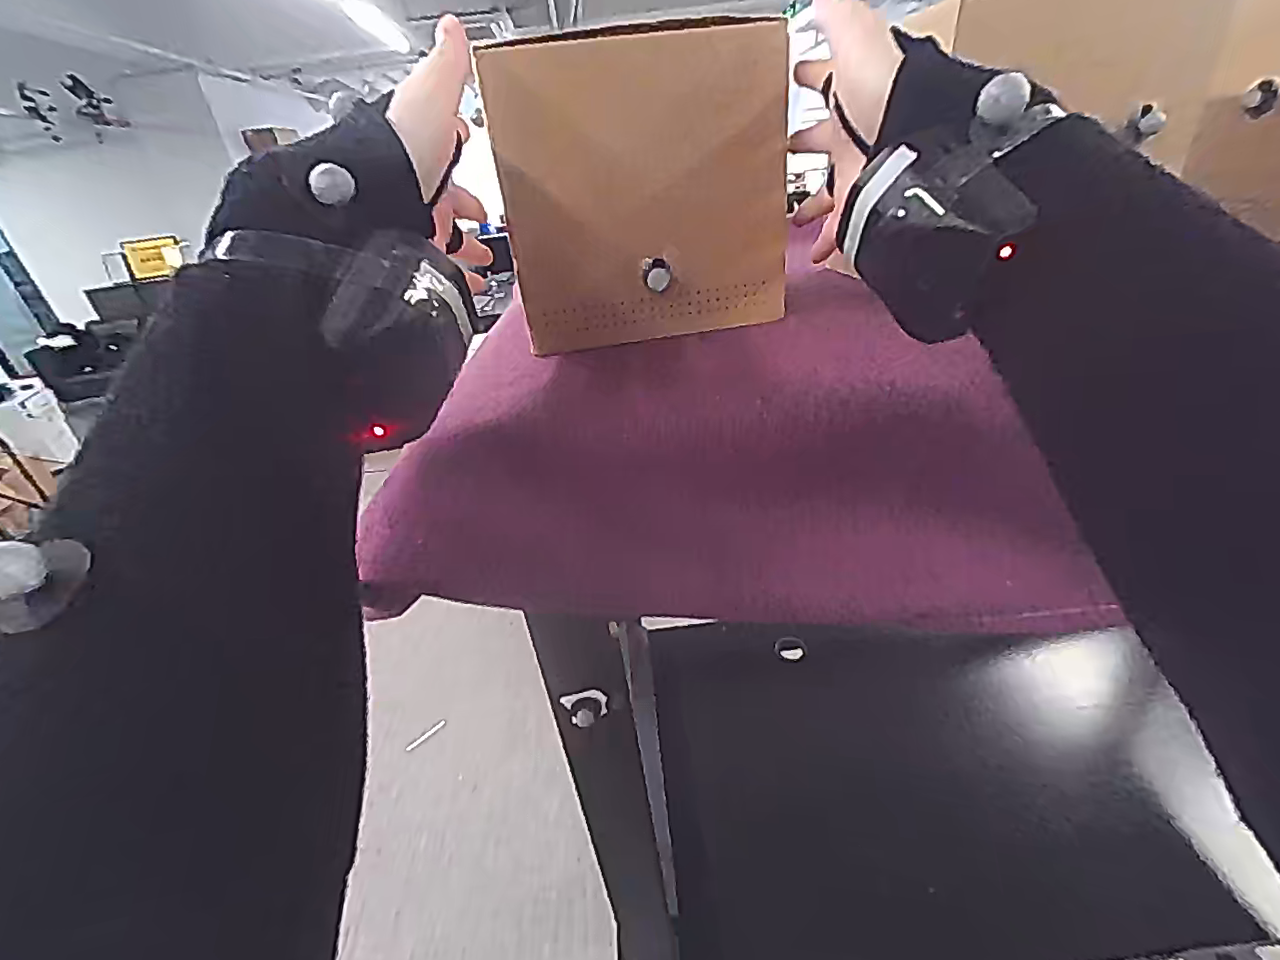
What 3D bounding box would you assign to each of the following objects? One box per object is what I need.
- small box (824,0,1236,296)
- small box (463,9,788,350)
[{"bbox_3d":[0.254,-0.247,0.405,0.179,0.176,0.168,-10,29,-3],"label":"small box"},{"bbox_3d":[-0.011,-0.204,0.388,0.179,0.176,0.168,-10,29,-6],"label":"small box"}]
